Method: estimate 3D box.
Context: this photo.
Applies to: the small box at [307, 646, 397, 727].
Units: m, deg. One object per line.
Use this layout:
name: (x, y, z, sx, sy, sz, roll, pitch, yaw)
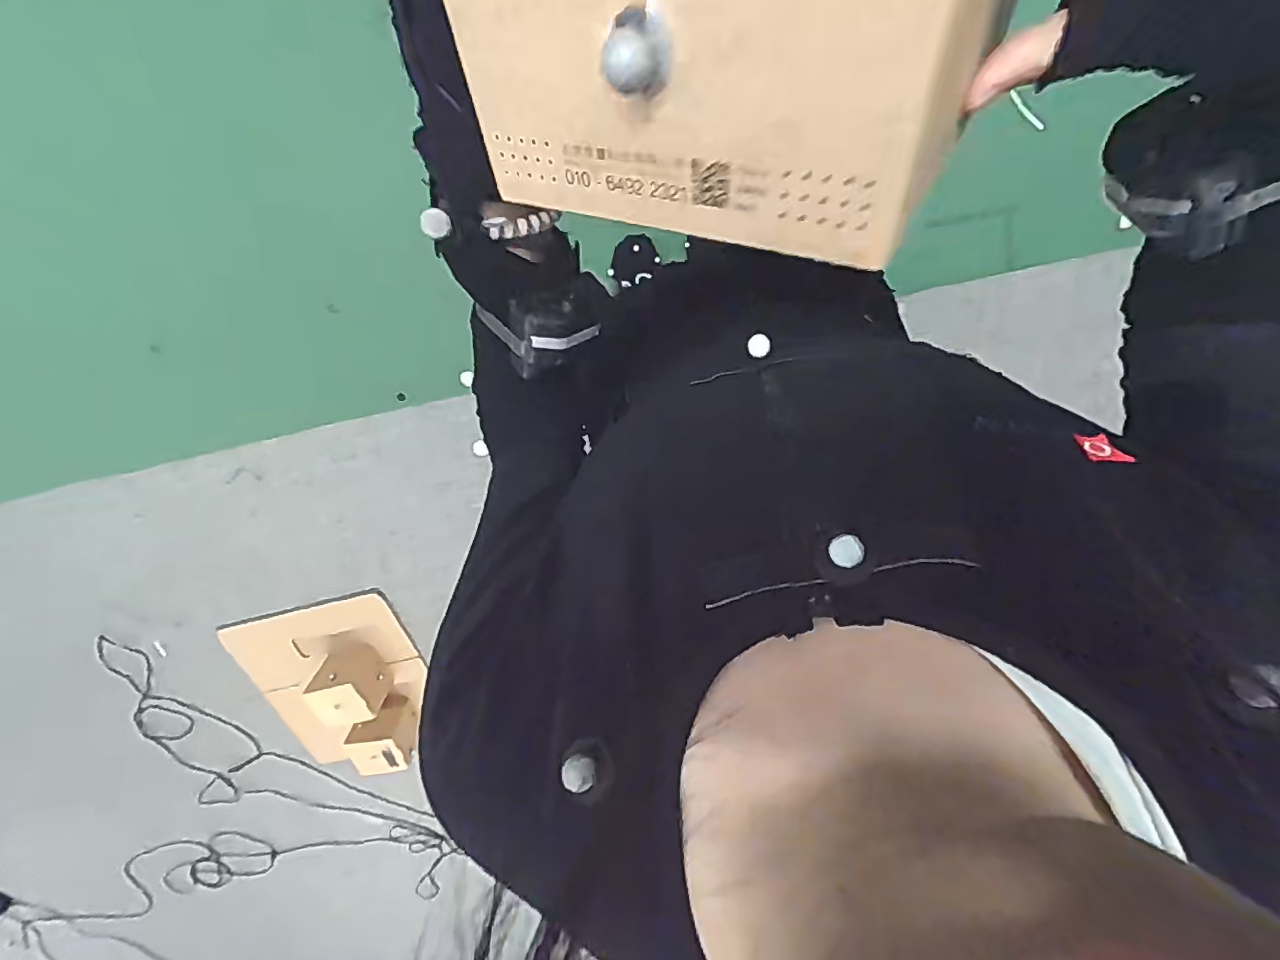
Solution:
small box: (-0.952, 0.684, 1.806, 0.179, 0.176, 0.168, -16, 115, 6)
